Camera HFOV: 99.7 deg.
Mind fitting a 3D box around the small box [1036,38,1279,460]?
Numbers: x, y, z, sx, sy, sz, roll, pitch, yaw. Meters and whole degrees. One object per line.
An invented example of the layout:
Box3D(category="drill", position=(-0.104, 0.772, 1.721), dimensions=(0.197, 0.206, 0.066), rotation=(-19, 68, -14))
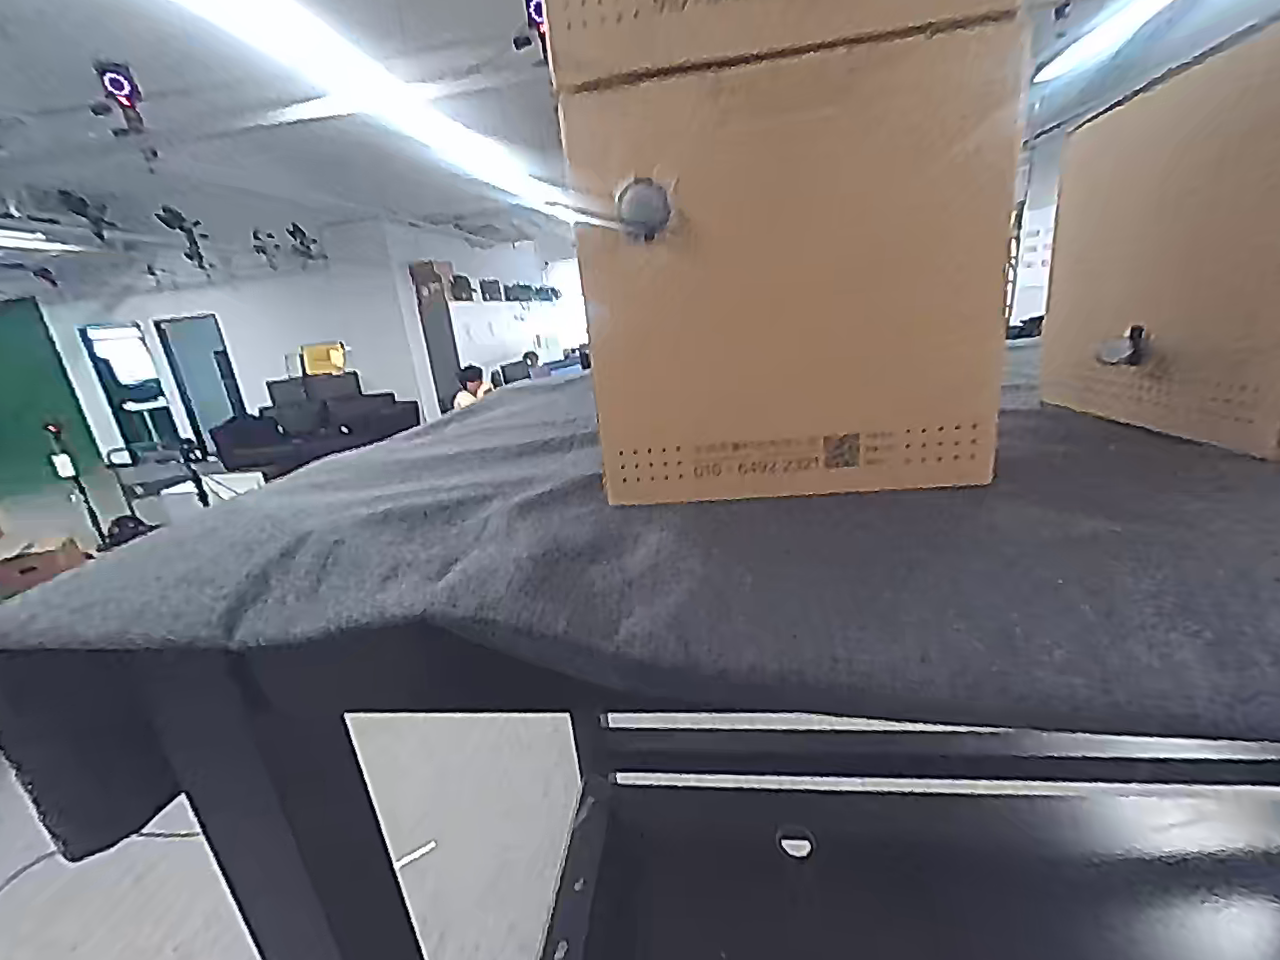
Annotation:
Box3D(category="small box", position=(0.333, -0.106, 0.264), dimensions=(0.168, 0.176, 0.179), rotation=(-2, 16, 9))

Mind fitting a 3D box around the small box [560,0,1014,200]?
Box3D(category="small box", position=(0.054, -0.245, 0.256), dimensions=(0.168, 0.176, 0.179), rotation=(-4, 17, 8))
